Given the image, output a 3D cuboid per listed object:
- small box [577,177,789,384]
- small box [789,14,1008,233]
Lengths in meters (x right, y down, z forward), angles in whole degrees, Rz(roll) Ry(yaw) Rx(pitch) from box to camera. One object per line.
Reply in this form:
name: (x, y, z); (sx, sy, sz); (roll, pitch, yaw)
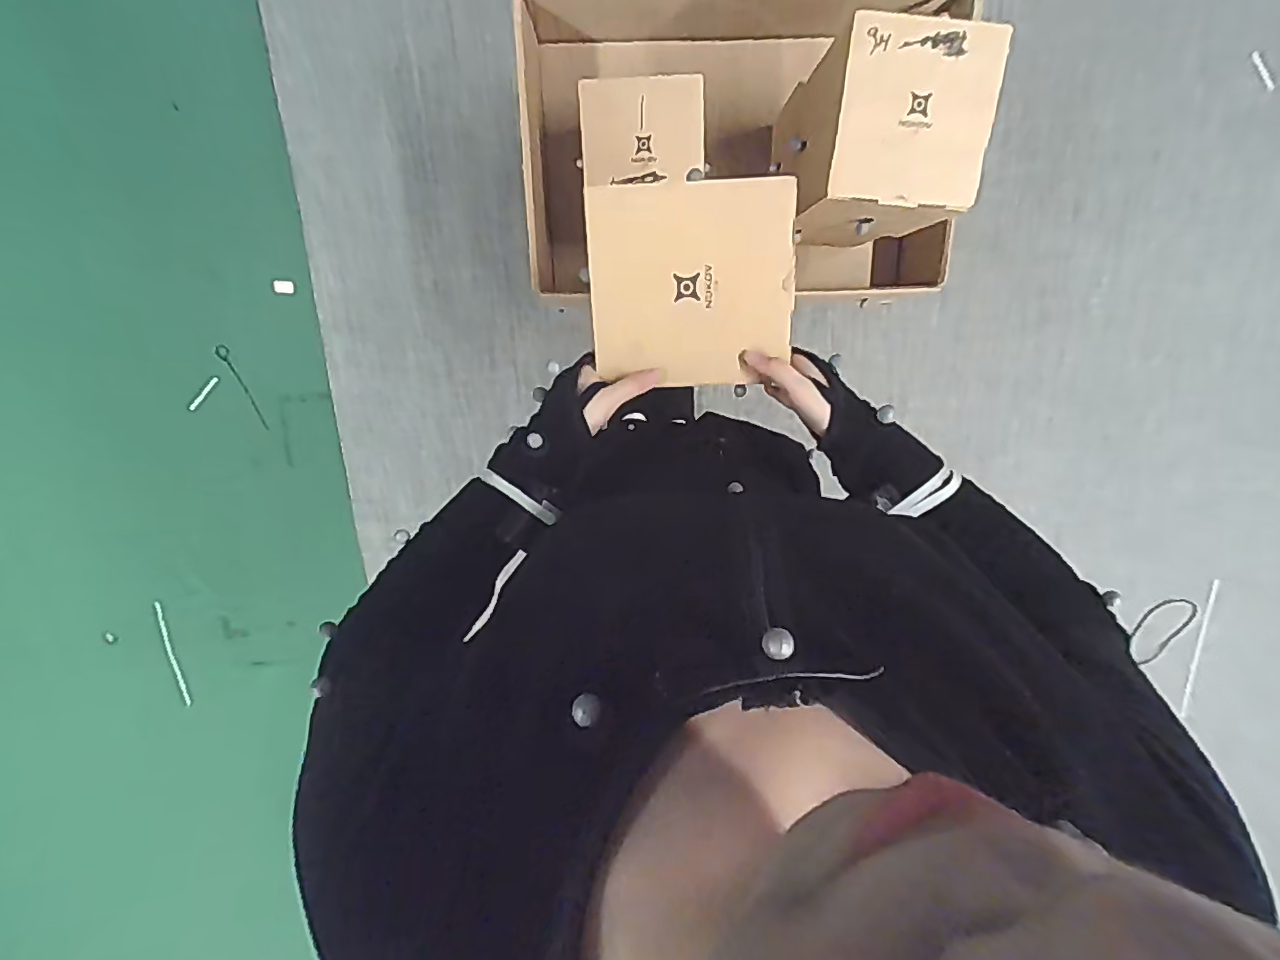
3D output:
small box: (0.039, -0.186, 0.539); (0.179, 0.176, 0.168); (-2, 105, 1)
small box: (0.287, -0.405, 0.649); (0.168, 0.176, 0.179); (5, 107, -1)
